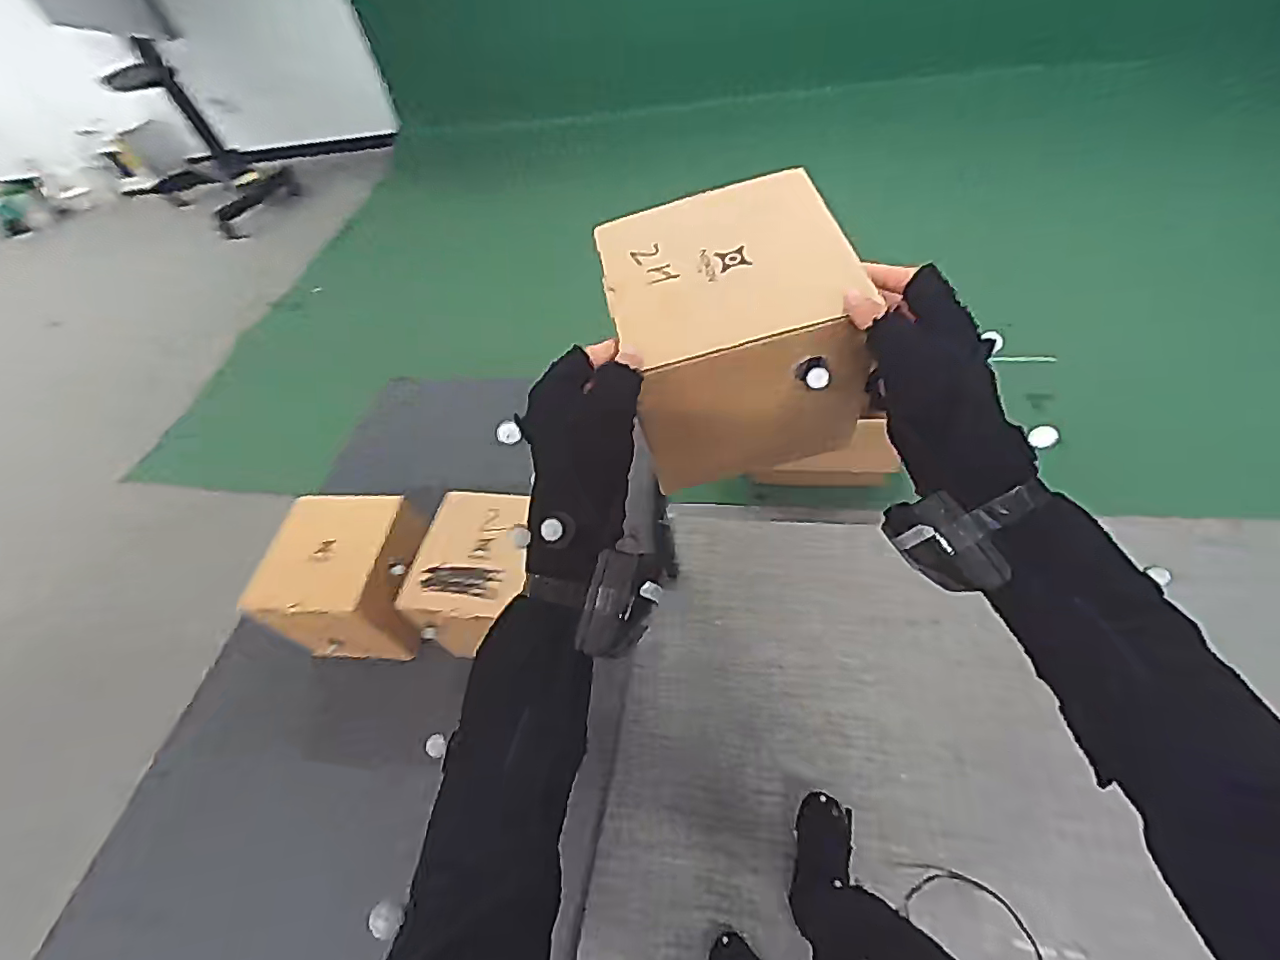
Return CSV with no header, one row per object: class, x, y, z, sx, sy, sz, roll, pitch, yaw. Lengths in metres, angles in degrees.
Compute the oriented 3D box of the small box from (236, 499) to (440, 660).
small box,-0.414,0.144,0.782,0.168,0.176,0.179,-1,55,9
